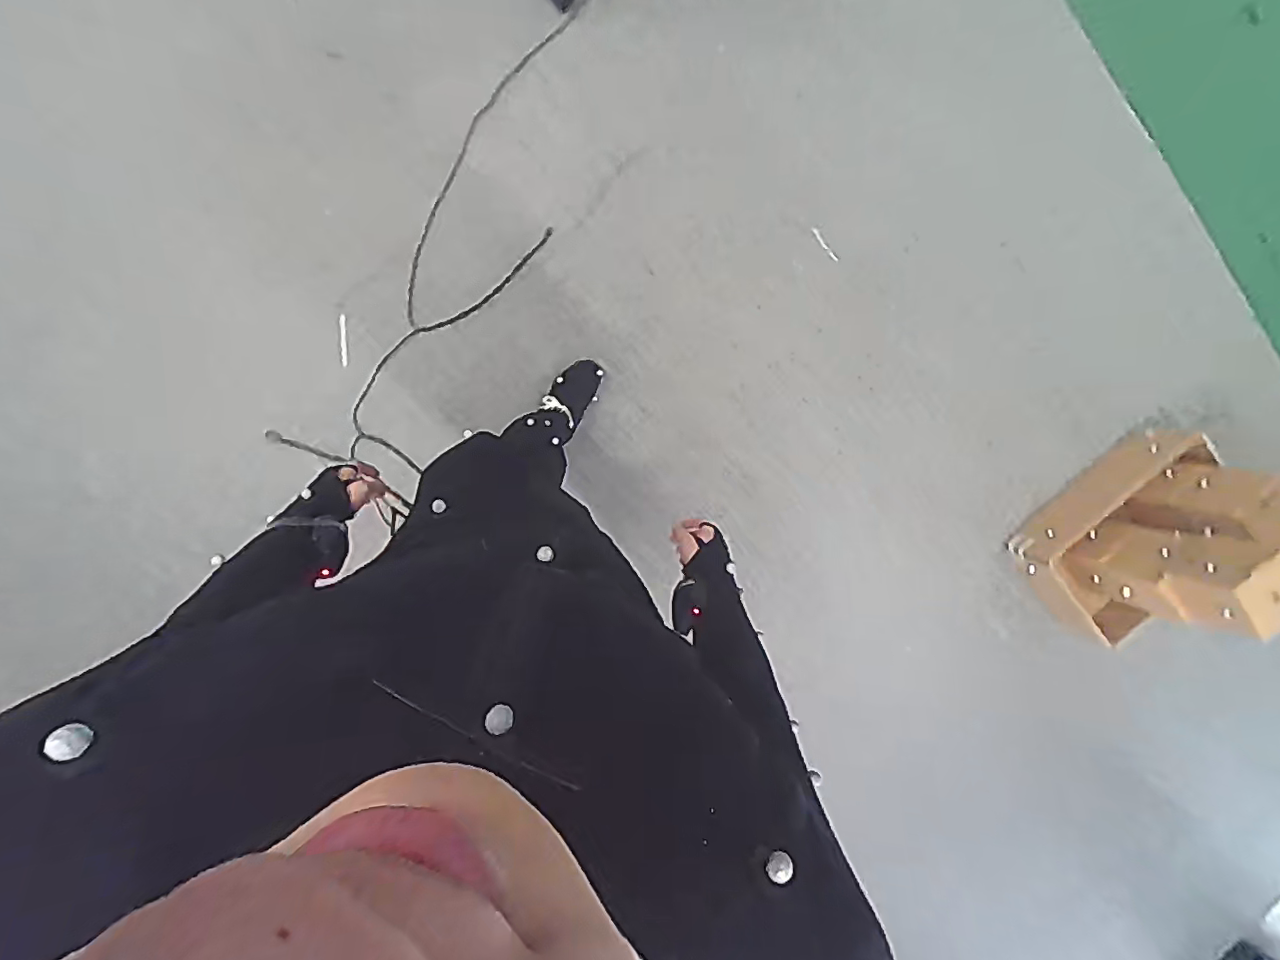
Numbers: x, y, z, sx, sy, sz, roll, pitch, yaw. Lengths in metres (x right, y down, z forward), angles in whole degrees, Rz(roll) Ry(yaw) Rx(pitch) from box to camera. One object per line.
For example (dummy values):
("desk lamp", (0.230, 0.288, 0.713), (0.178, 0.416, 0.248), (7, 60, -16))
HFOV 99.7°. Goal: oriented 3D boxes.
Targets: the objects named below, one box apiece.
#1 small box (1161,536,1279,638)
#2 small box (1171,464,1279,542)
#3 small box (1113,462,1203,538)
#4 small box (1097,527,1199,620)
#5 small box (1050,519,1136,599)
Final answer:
("small box", (1.504, 0.261, 1.381), (0.168, 0.176, 0.179), (-39, 100, -1))
("small box", (1.682, 0.075, 1.543), (0.179, 0.176, 0.168), (-42, 102, 1))
("small box", (1.665, 0.055, 1.707), (0.168, 0.176, 0.179), (-42, 100, 1))
("small box", (1.476, 0.258, 1.541), (0.179, 0.176, 0.168), (-44, 100, 0))
("small box", (1.455, 0.239, 1.704), (0.168, 0.176, 0.179), (-40, 101, -1))
